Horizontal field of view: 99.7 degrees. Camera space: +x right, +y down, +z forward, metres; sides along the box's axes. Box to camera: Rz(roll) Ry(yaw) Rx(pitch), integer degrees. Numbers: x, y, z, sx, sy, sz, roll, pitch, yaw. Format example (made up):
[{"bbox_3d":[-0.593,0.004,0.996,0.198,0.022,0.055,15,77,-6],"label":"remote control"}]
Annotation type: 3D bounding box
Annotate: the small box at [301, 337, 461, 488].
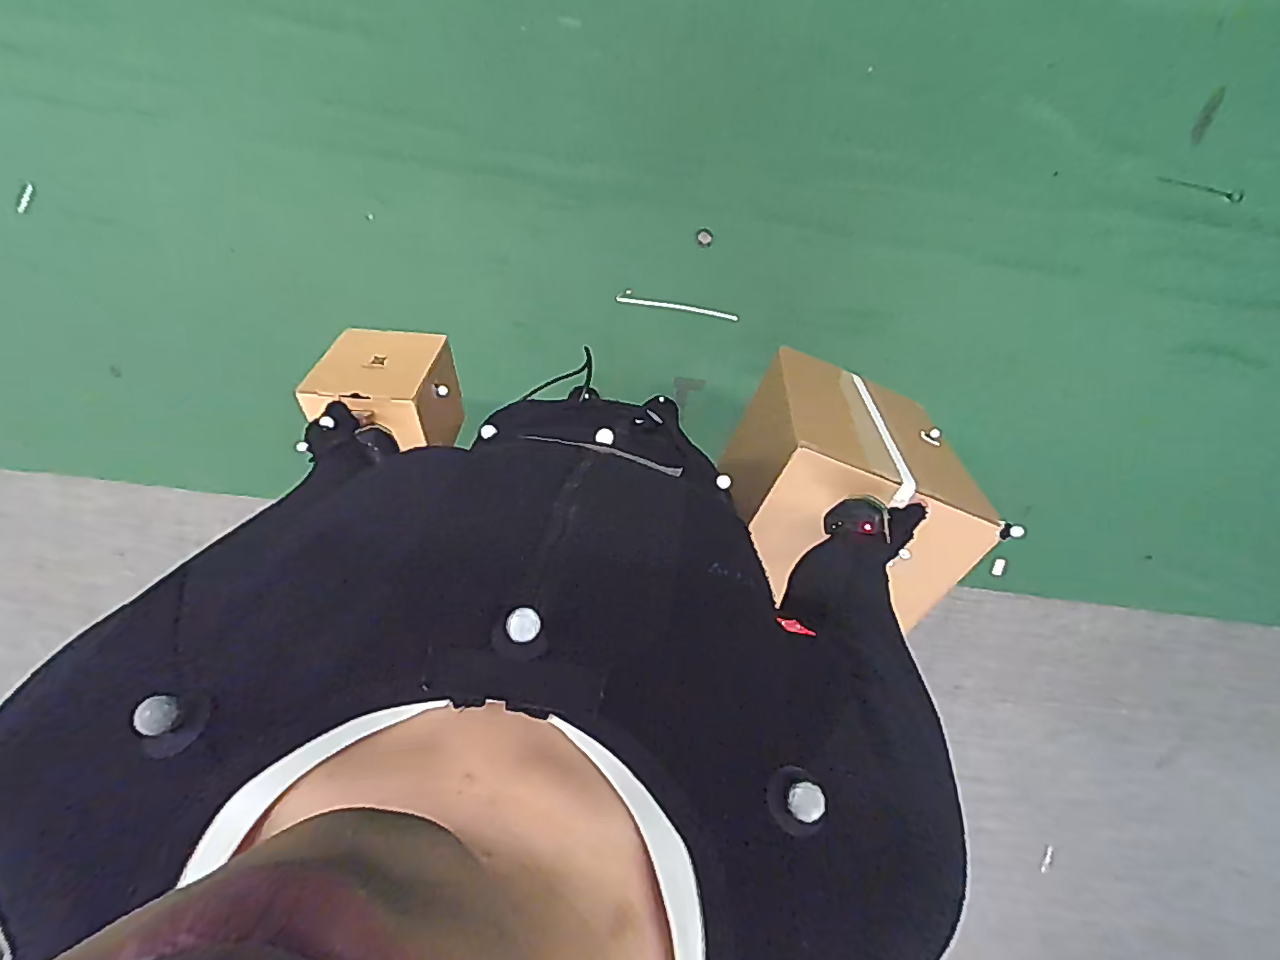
[{"bbox_3d":[-0.400,-0.109,0.877,0.168,0.179,0.176,3,135,-1],"label":"small box"}]
